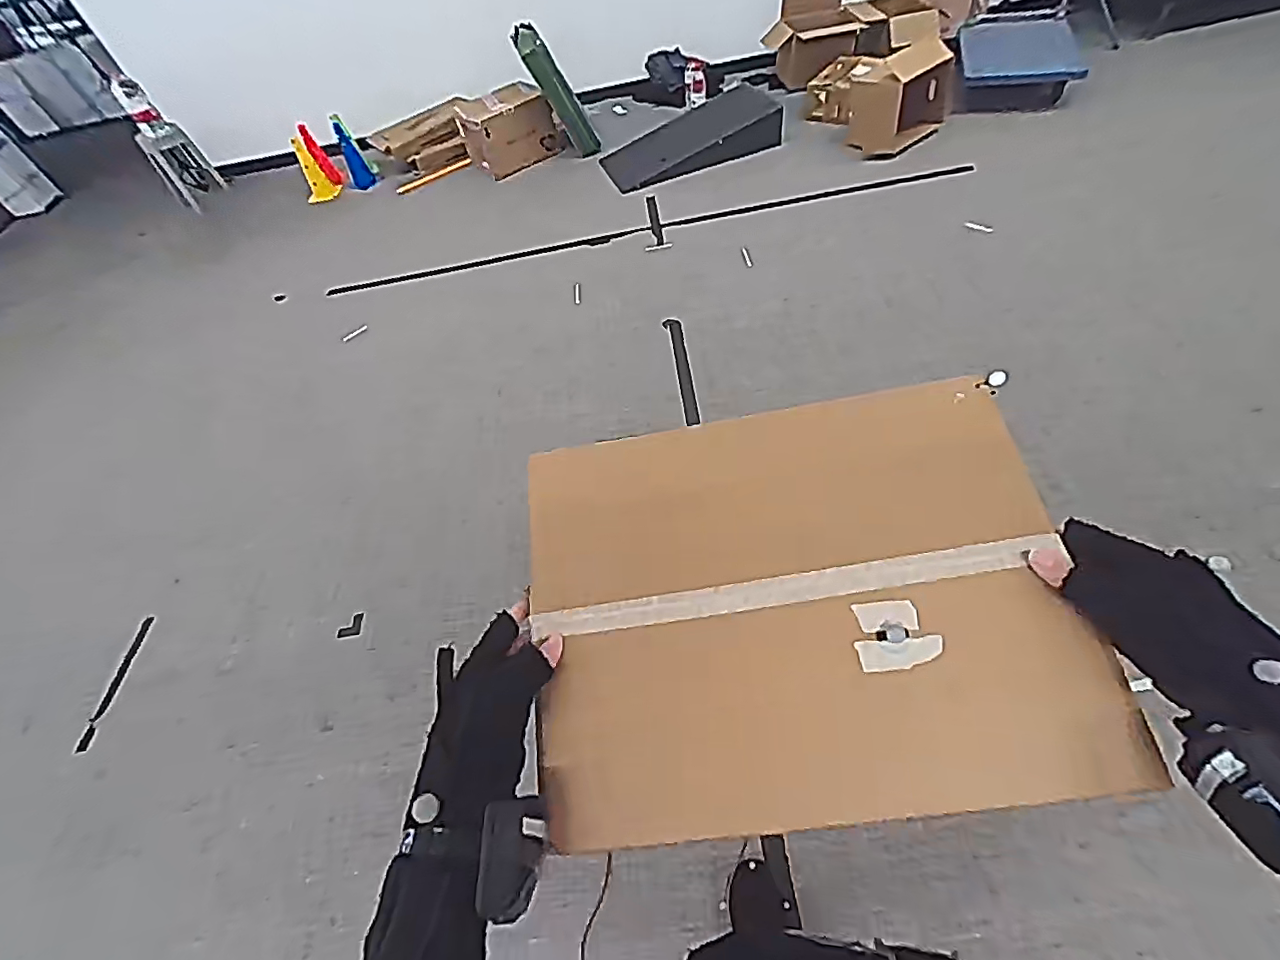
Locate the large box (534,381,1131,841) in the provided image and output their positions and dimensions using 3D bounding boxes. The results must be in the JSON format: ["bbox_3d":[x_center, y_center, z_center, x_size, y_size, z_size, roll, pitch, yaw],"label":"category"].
[{"bbox_3d":[0.134,0.145,0.568,0.408,0.320,0.320,-10,66,5],"label":"large box"}]
